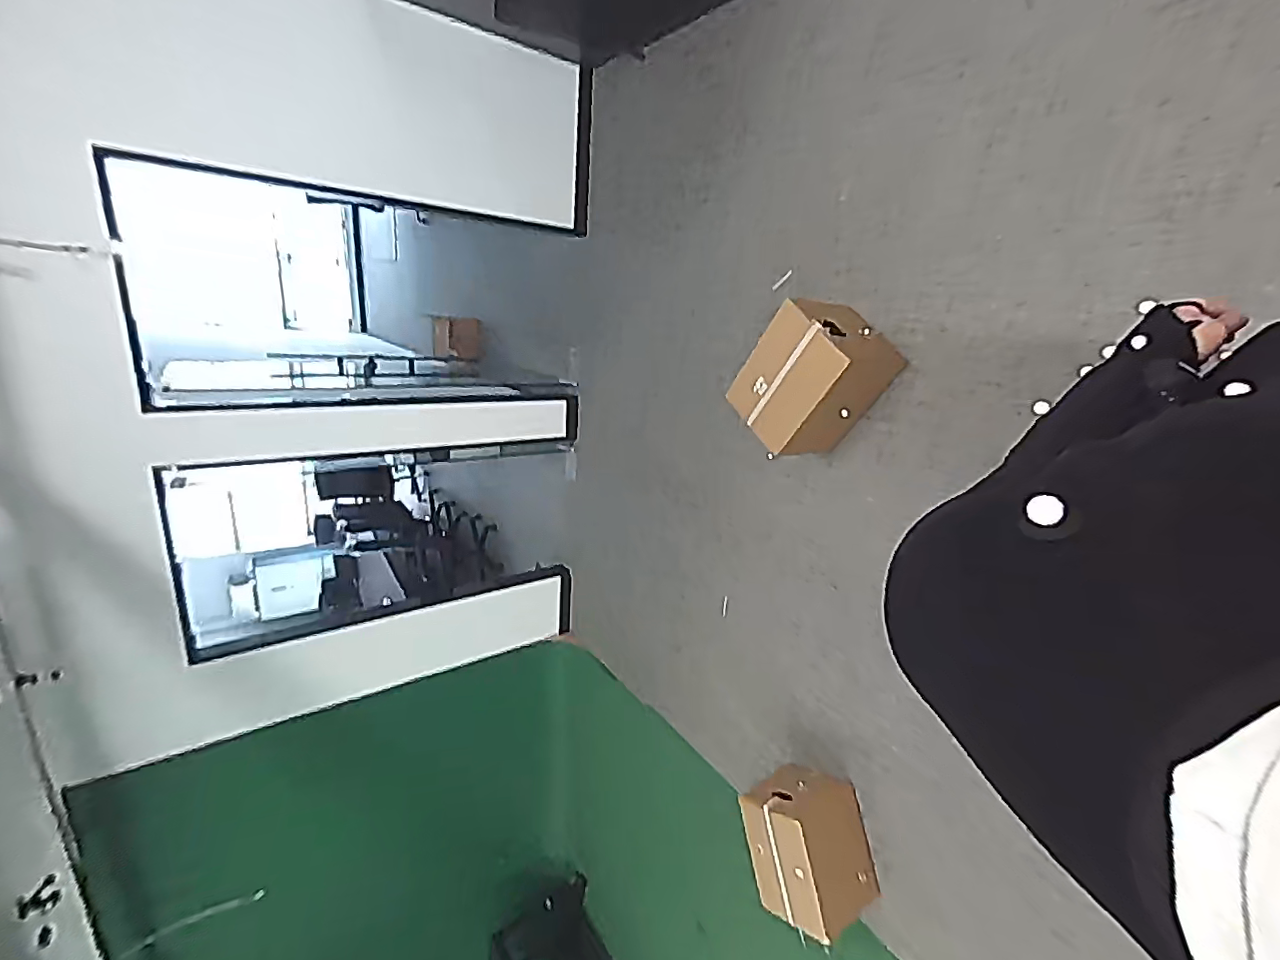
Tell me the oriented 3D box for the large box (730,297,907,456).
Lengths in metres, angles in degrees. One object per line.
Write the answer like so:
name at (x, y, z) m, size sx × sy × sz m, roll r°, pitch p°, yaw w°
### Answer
large box at (0.578, -0.342, 1.791) m, size 0.320 × 0.320 × 0.408 m, roll 59°, pitch 140°, yaw 30°
